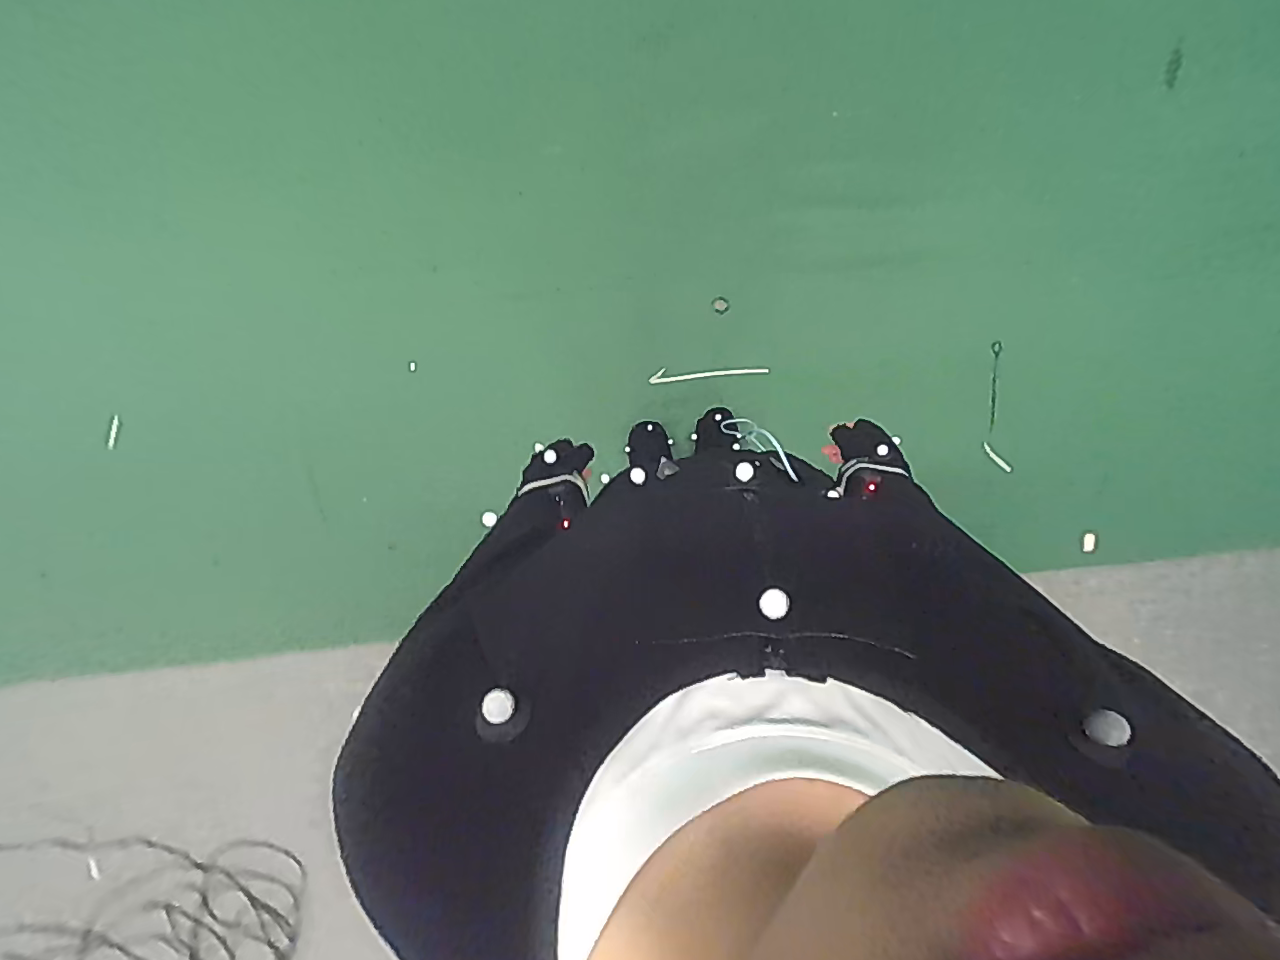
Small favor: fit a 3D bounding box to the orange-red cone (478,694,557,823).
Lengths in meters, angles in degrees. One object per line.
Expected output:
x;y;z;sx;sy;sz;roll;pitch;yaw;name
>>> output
-0.348;0.743;1.404;0.198;0.360;0.199;-6;99;2;orange-red cone
